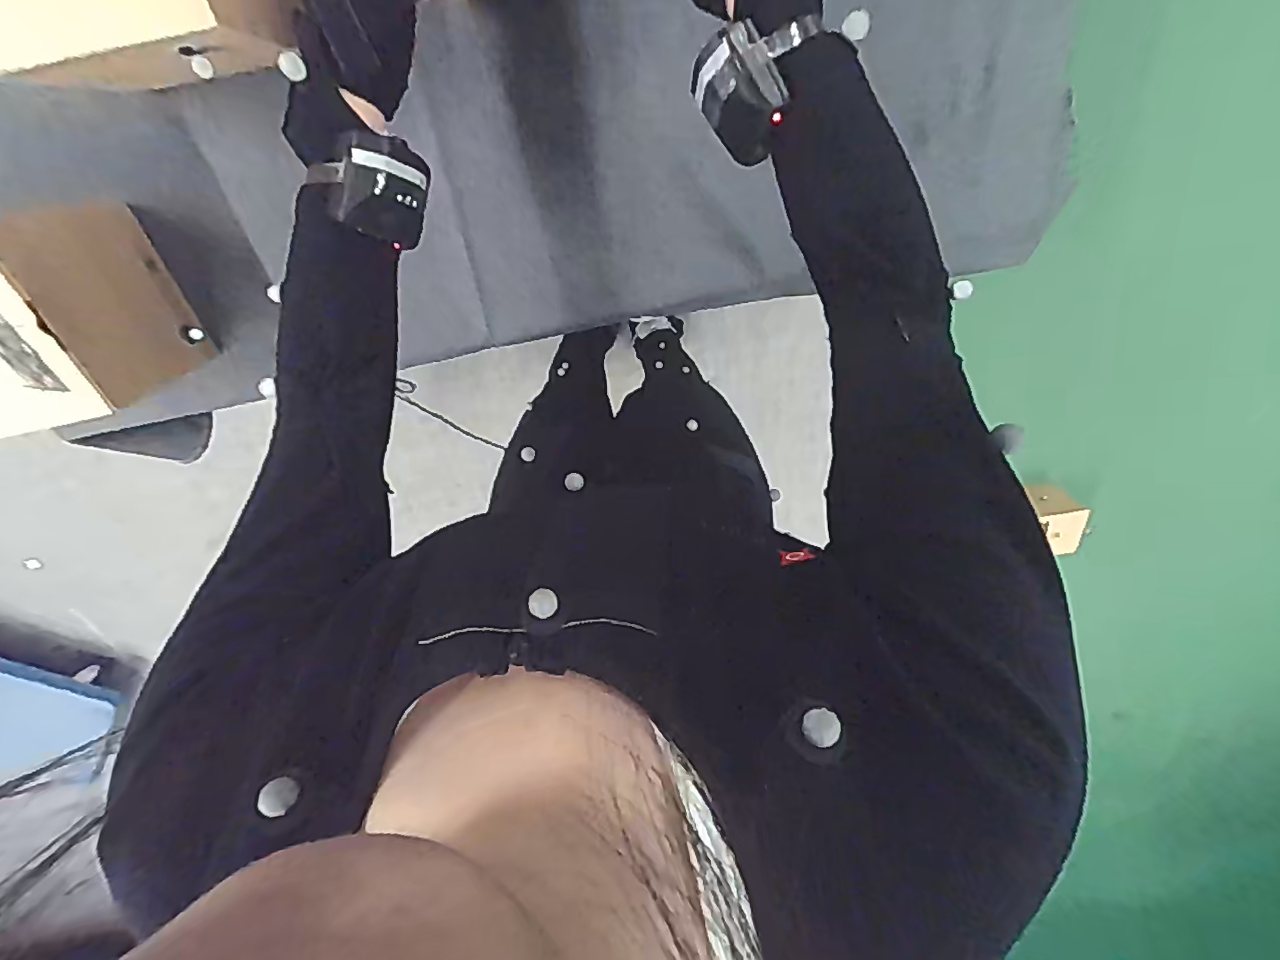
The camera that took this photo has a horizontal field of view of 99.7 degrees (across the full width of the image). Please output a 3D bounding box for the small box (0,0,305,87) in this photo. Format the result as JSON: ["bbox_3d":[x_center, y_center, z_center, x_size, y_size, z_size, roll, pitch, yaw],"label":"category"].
[{"bbox_3d":[-0.379,-0.398,0.388,0.179,0.176,0.168,-10,123,1],"label":"small box"}]

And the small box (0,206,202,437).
[{"bbox_3d":[-0.583,-0.156,0.525,0.179,0.176,0.168,-11,122,3],"label":"small box"}]
